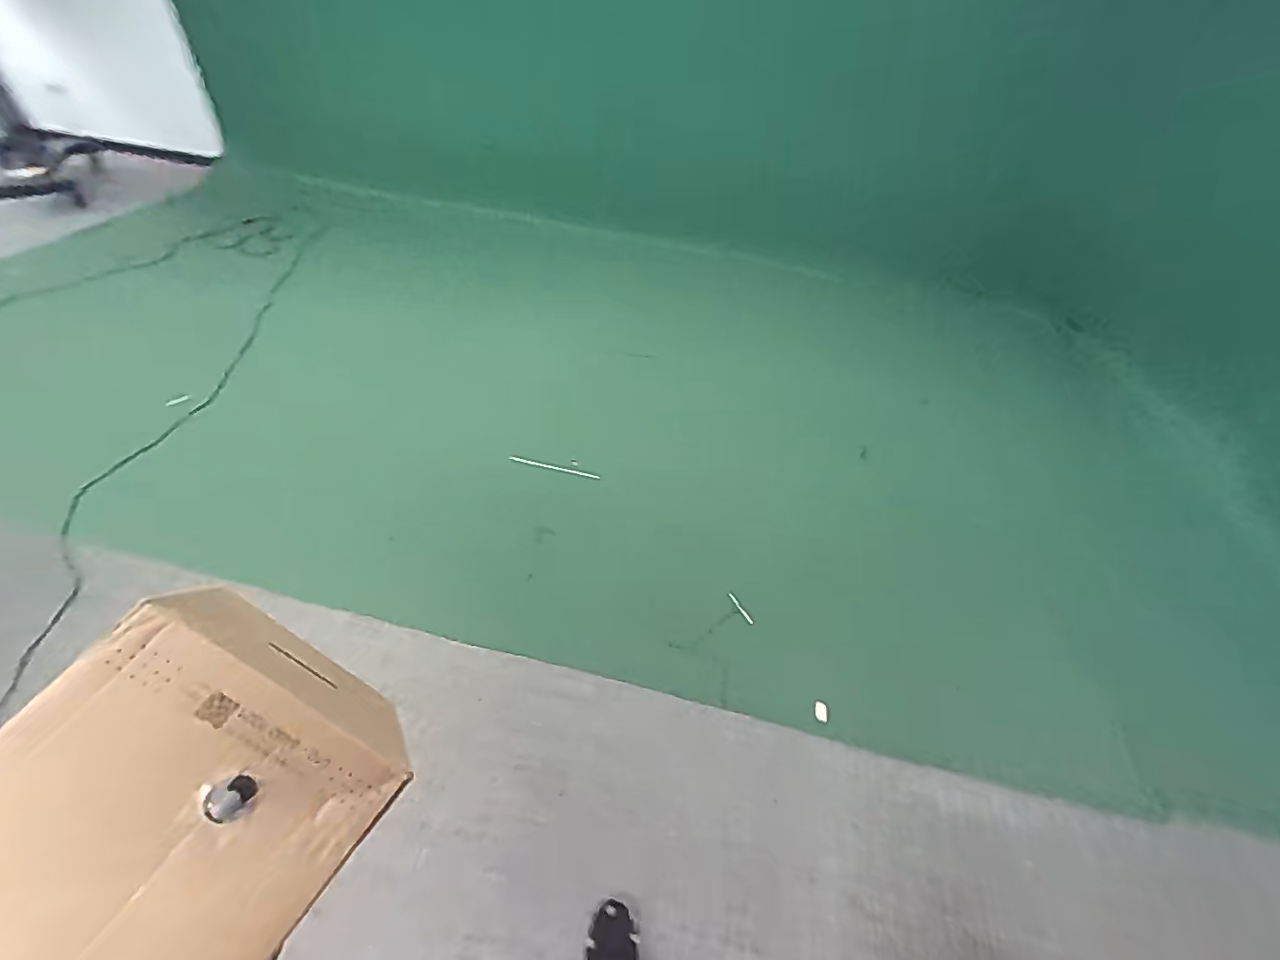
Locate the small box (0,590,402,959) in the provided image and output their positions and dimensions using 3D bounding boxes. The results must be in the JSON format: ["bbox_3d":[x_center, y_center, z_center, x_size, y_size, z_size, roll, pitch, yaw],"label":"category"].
[{"bbox_3d":[-0.275,0.184,0.338,0.168,0.179,0.176,44,64,-14],"label":"small box"}]
